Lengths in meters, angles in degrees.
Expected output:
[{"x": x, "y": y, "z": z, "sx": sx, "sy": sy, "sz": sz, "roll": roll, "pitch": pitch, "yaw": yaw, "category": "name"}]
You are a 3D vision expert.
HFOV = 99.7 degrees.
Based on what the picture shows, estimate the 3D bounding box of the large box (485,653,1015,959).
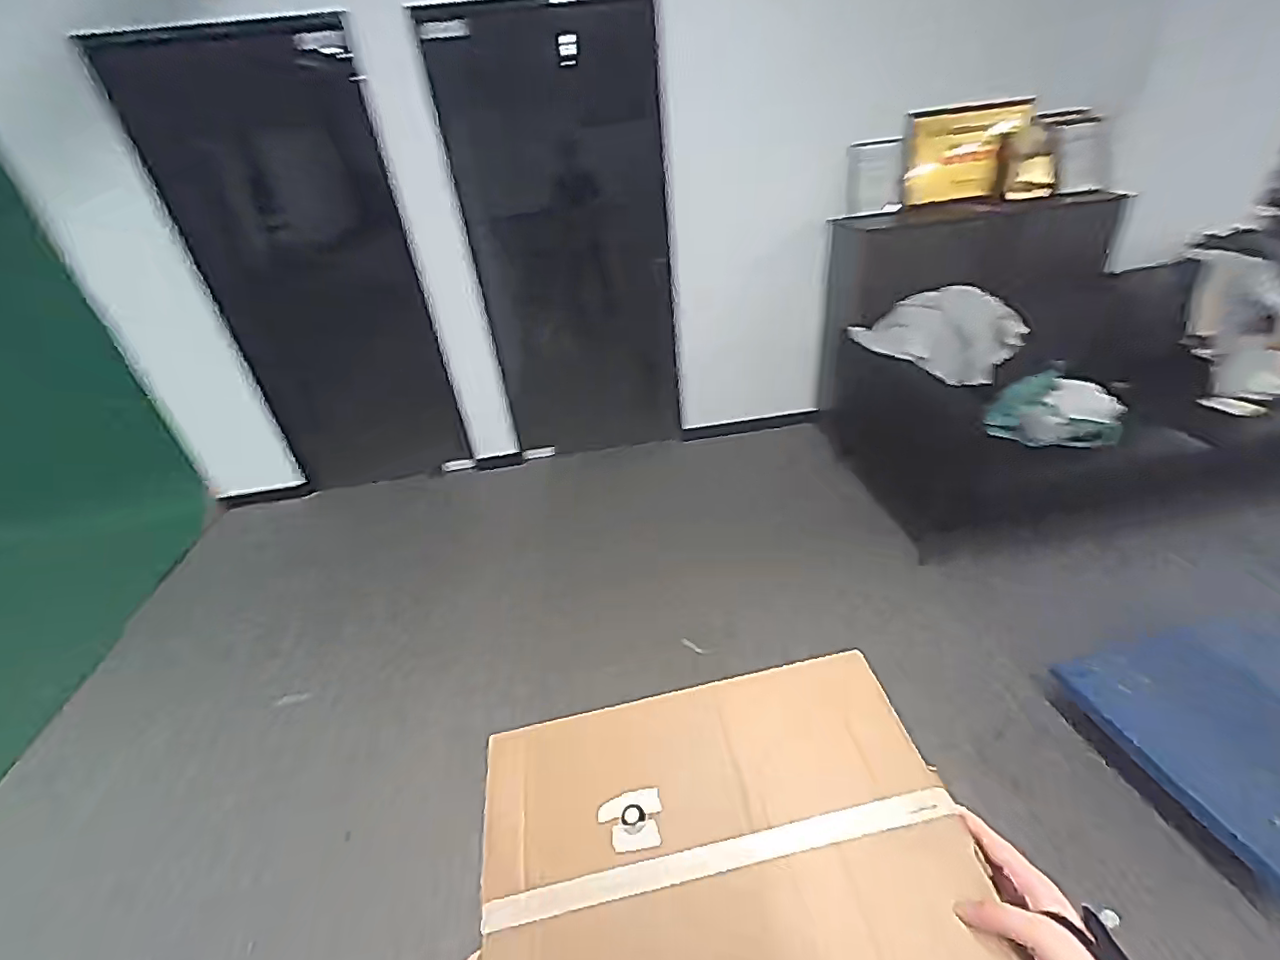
[{"x": 0.086, "y": 0.442, "z": 0.565, "sx": 0.408, "sy": 0.320, "sz": 0.320, "roll": -15, "pitch": 41, "yaw": -3, "category": "large box"}]
